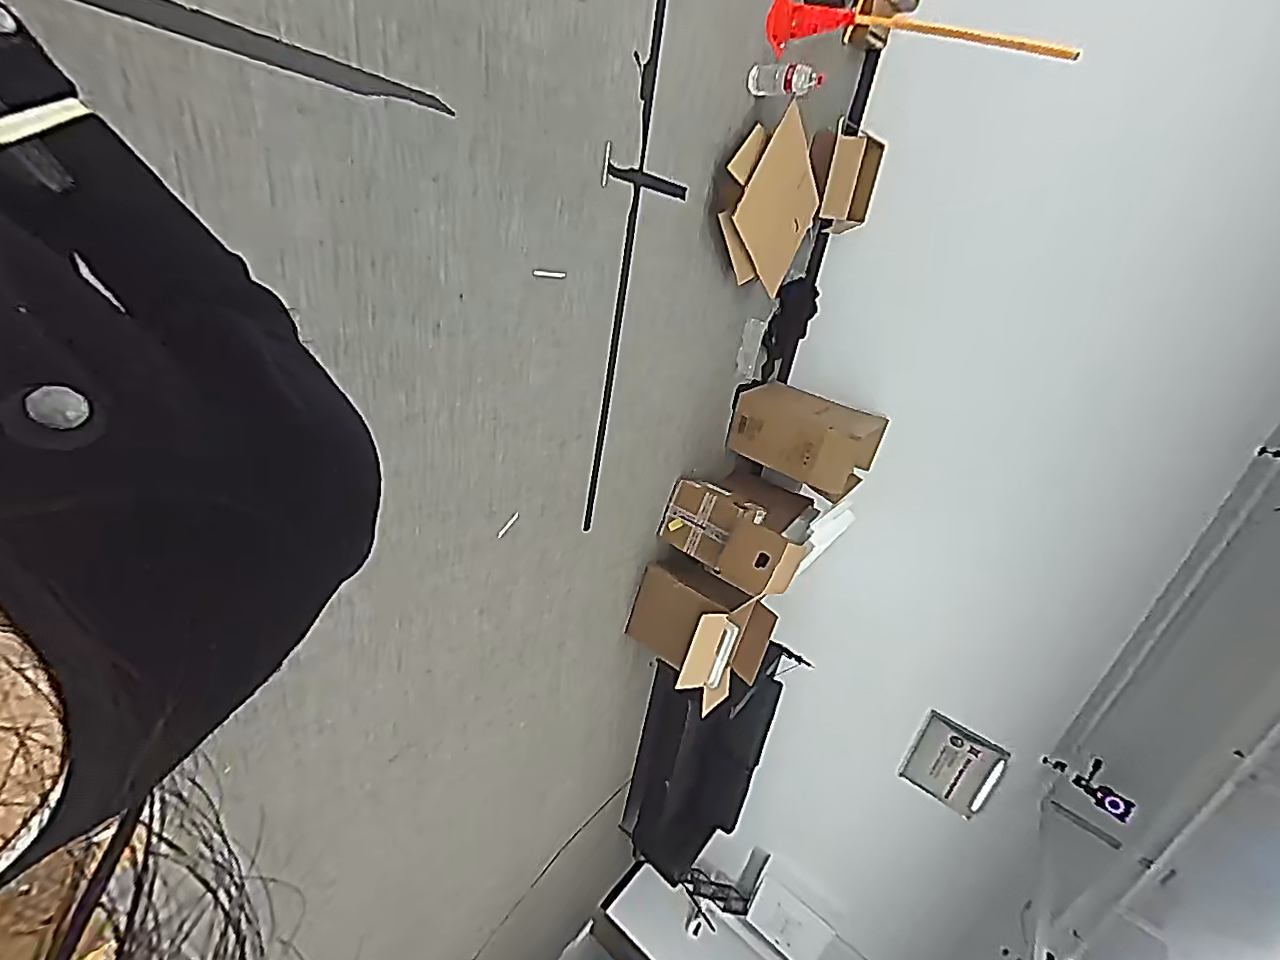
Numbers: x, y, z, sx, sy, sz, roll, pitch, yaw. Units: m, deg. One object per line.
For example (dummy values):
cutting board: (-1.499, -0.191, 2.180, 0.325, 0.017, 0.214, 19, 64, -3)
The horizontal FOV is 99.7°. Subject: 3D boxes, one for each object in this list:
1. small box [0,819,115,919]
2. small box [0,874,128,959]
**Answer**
small box: (-1.161, 0.804, 1.033, 0.179, 0.176, 0.168, -21, 127, -48)
small box: (-1.031, 0.855, 0.950, 0.168, 0.176, 0.179, -21, 127, -49)
